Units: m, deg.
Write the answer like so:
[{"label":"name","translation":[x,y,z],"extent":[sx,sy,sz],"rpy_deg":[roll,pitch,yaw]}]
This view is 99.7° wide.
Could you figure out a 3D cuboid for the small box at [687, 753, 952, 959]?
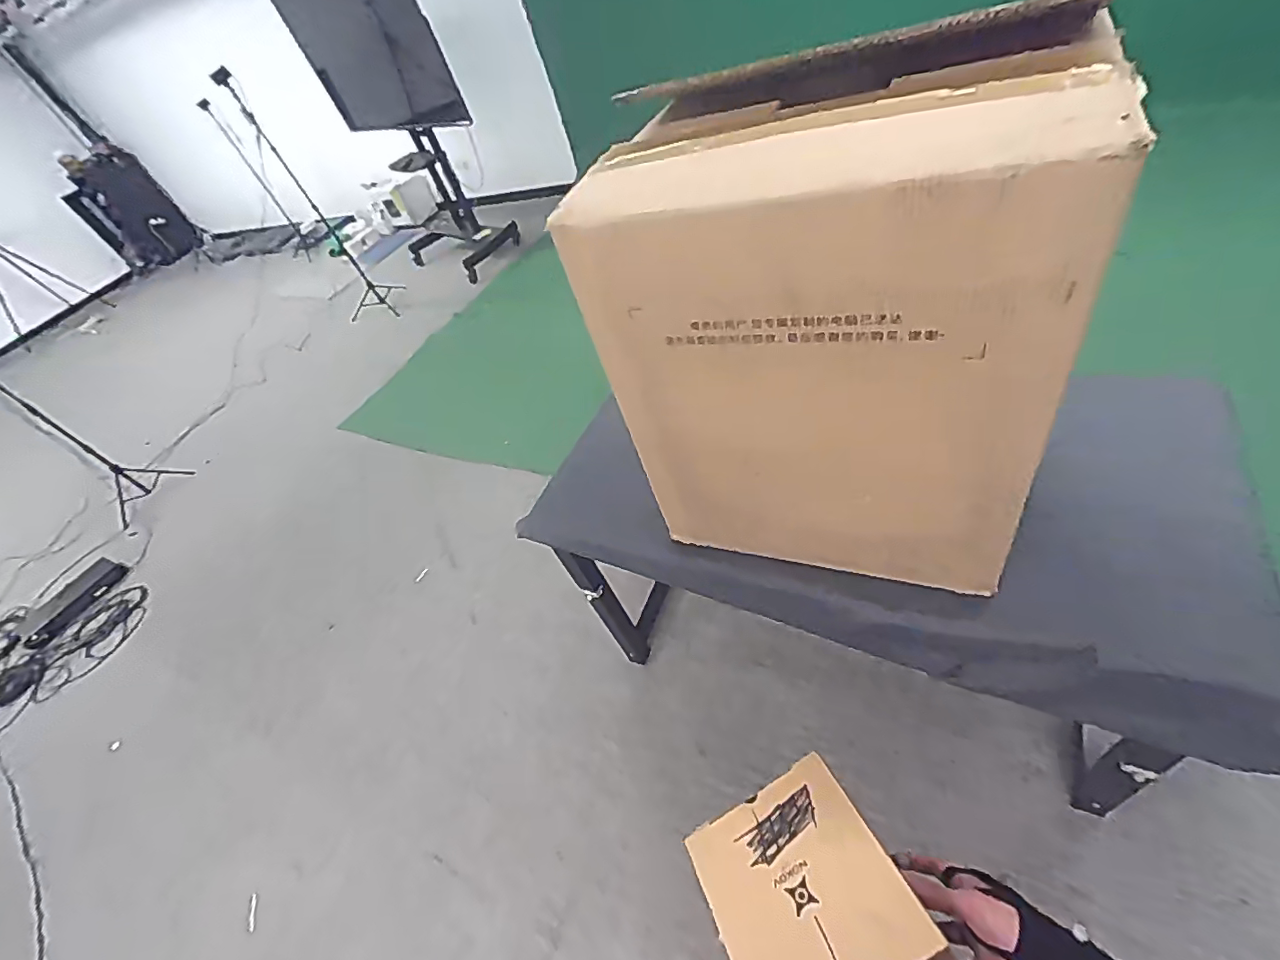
[{"label":"small box","translation":[0.175,0.421,0.532],"extent":[0.168,0.176,0.179],"rpy_deg":[-34,33,-1]}]
